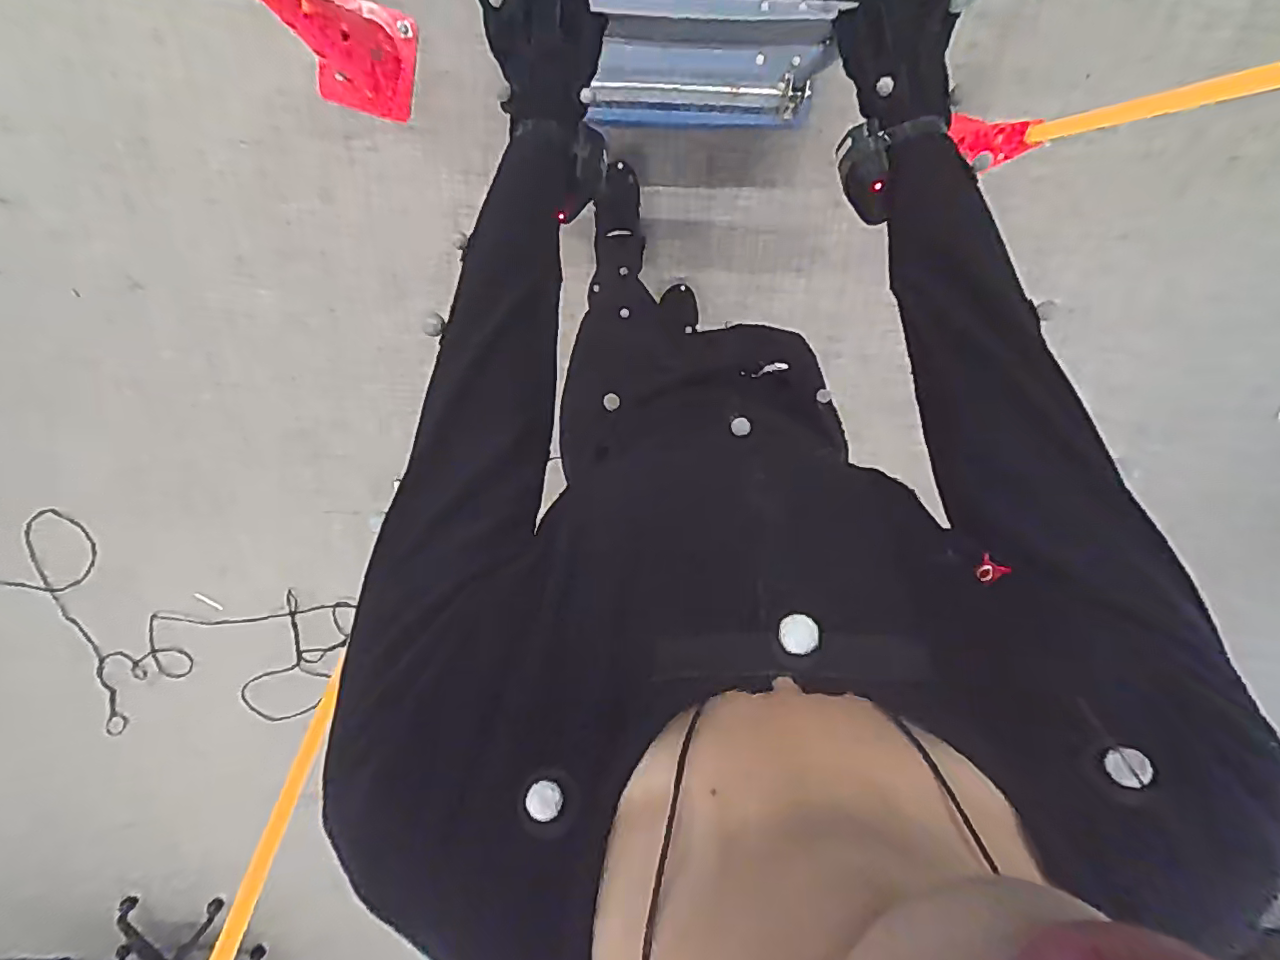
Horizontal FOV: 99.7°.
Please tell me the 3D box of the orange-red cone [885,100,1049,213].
[{"bbox_3d":[0.685,-0.670,1.087,0.198,0.360,0.199,13,114,-5],"label":"orange-red cone"}]
